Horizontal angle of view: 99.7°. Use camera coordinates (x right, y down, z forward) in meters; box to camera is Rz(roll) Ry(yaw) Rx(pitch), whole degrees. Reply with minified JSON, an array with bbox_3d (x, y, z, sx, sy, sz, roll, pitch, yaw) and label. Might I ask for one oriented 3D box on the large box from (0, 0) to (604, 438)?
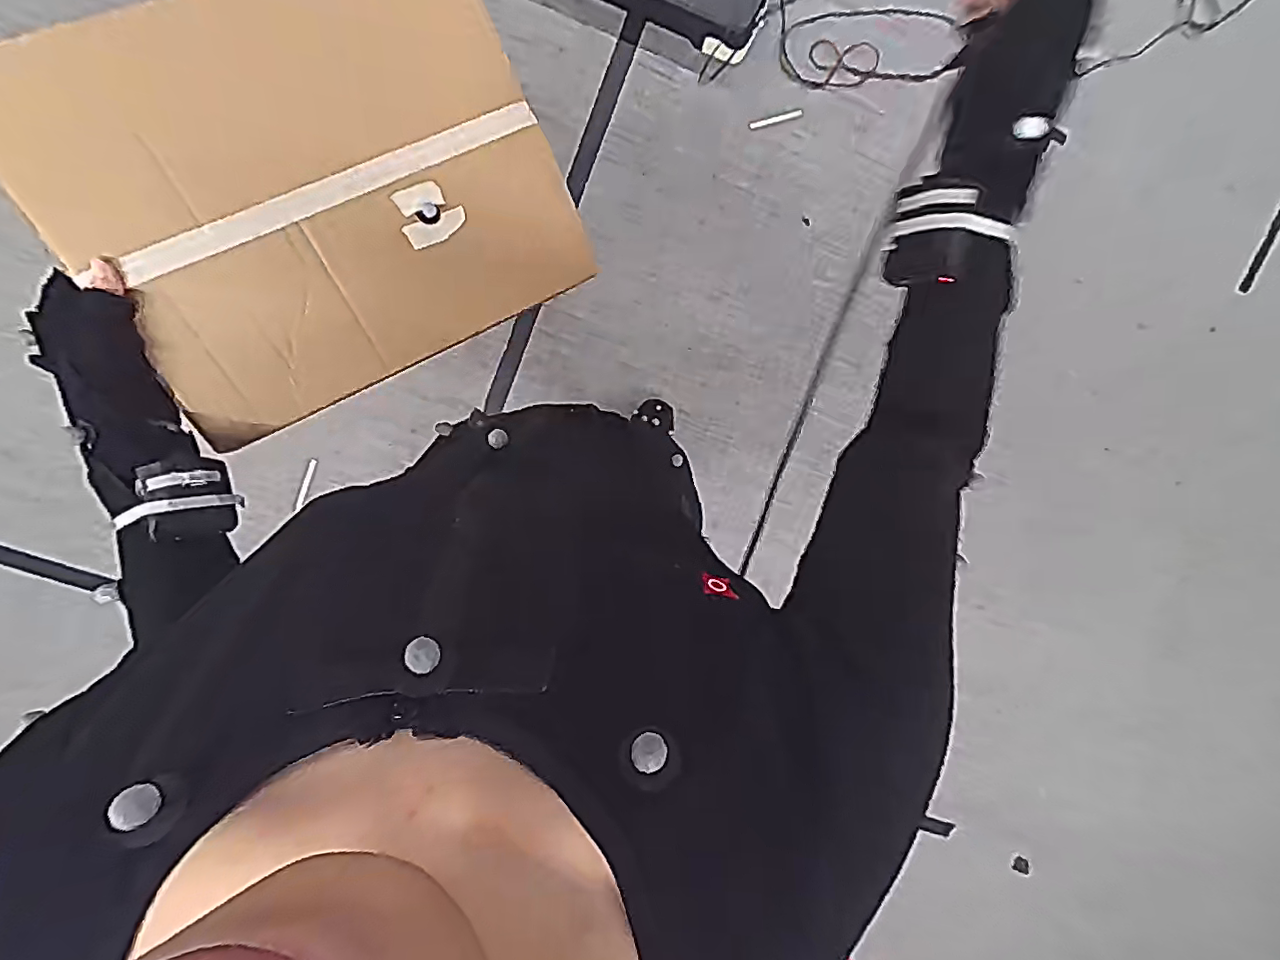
[{"bbox_3d":[-0.318,-0.291,0.612,0.408,0.320,0.320,-32,112,-14],"label":"large box"}]
